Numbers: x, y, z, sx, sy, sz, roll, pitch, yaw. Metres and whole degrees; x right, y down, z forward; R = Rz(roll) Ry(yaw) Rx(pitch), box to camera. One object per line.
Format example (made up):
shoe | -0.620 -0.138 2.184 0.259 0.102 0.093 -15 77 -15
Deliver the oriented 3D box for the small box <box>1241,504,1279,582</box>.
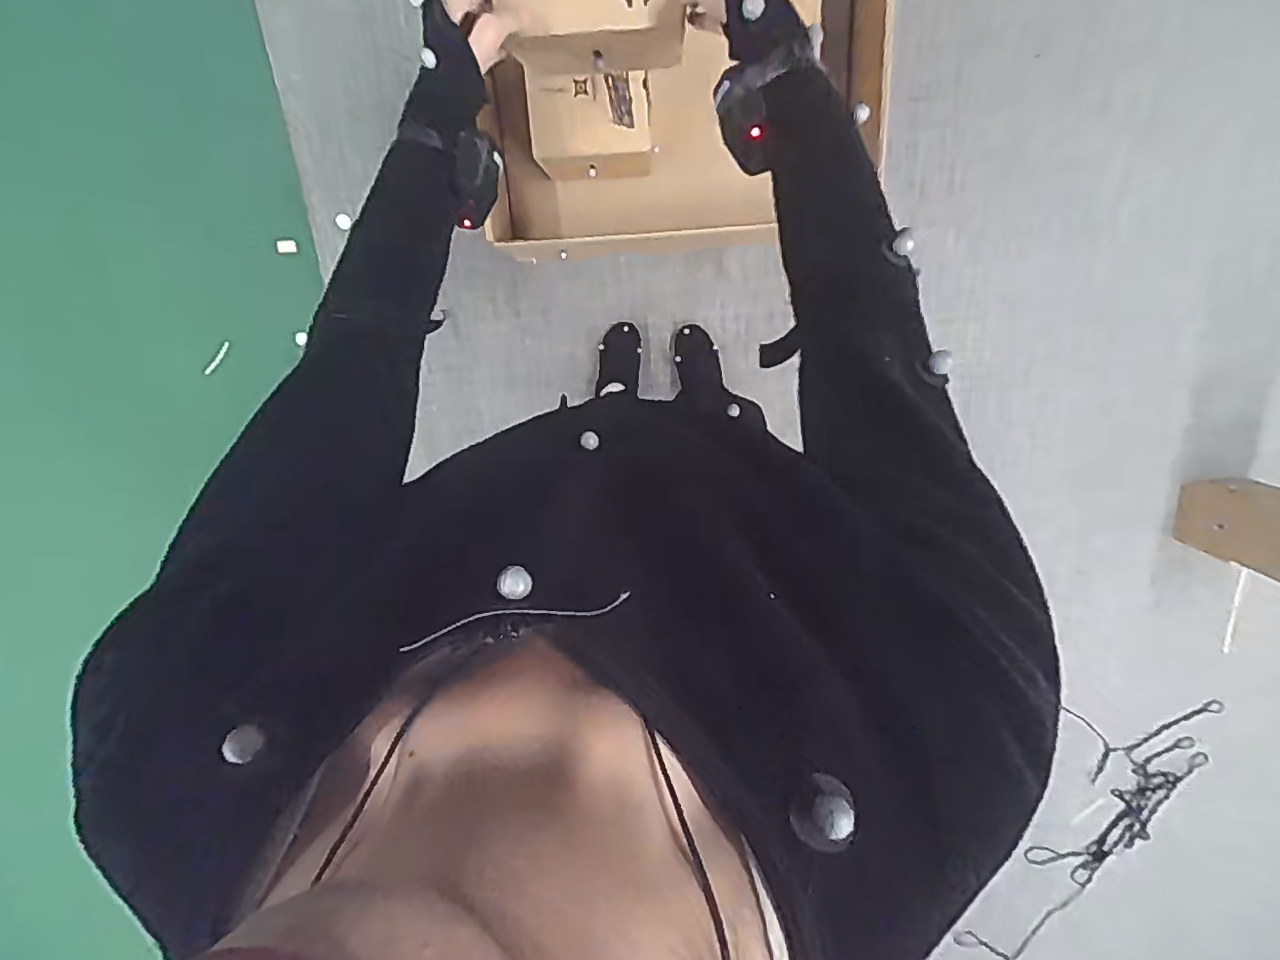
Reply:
small box | 1.597 0.158 1.277 0.168 0.176 0.179 -5 107 5

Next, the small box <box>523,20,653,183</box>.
small box | -0.071 -0.571 0.837 0.179 0.176 0.168 -2 107 2

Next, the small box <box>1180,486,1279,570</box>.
small box | 1.603 0.120 1.437 0.168 0.176 0.179 -5 107 4
